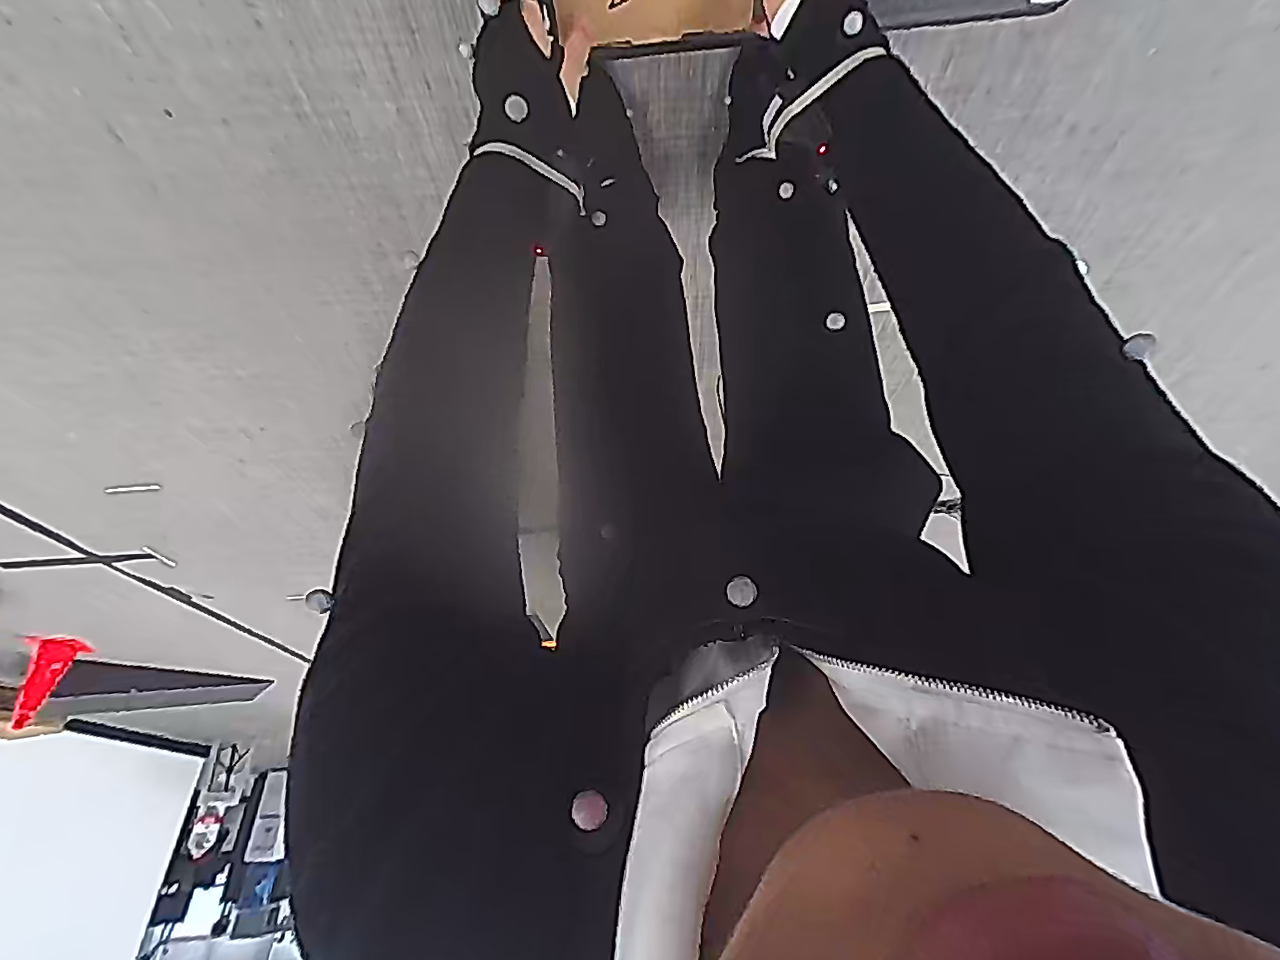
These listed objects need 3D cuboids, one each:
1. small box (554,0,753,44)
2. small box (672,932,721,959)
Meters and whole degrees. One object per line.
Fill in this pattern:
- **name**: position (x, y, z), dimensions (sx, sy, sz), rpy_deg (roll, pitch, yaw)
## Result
- **small box**: position (0.002, -0.492, 0.433), dimensions (0.168, 0.176, 0.179), rpy_deg (-5, 146, 1)
- **small box**: position (0.219, 1.820, 2.028), dimensions (0.179, 0.176, 0.168), rpy_deg (-6, 148, 4)
